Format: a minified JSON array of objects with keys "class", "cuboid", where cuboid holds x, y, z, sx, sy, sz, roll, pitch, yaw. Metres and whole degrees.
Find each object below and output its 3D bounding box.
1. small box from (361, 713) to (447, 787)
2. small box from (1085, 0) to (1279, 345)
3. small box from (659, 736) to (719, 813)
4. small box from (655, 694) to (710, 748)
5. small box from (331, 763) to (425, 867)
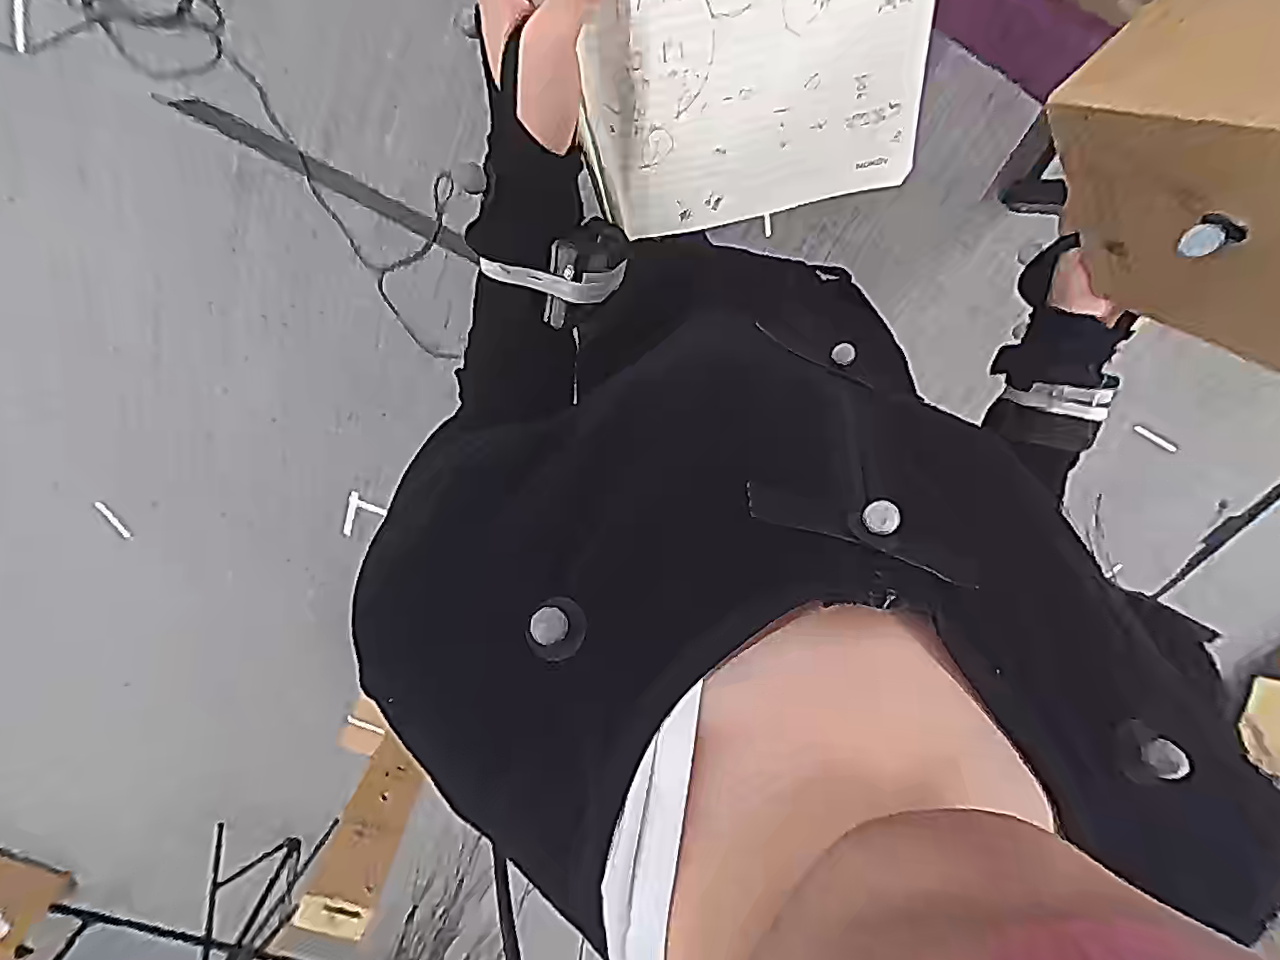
[{"class":"small box","cuboid":[-0.719,0.854,1.665,0.168,0.176,0.179,29,116,-13]},{"class":"small box","cuboid":[0.351,-0.173,0.246,0.179,0.176,0.168,-42,127,17]},{"class":"small box","cuboid":[0.166,1.005,1.862,0.168,0.176,0.179,-15,117,12]},{"class":"small box","cuboid":[0.163,0.932,2.010,0.168,0.176,0.179,-16,115,11]},{"class":"small box","cuboid":[-0.730,0.939,1.526,0.168,0.176,0.179,27,115,-11]}]
